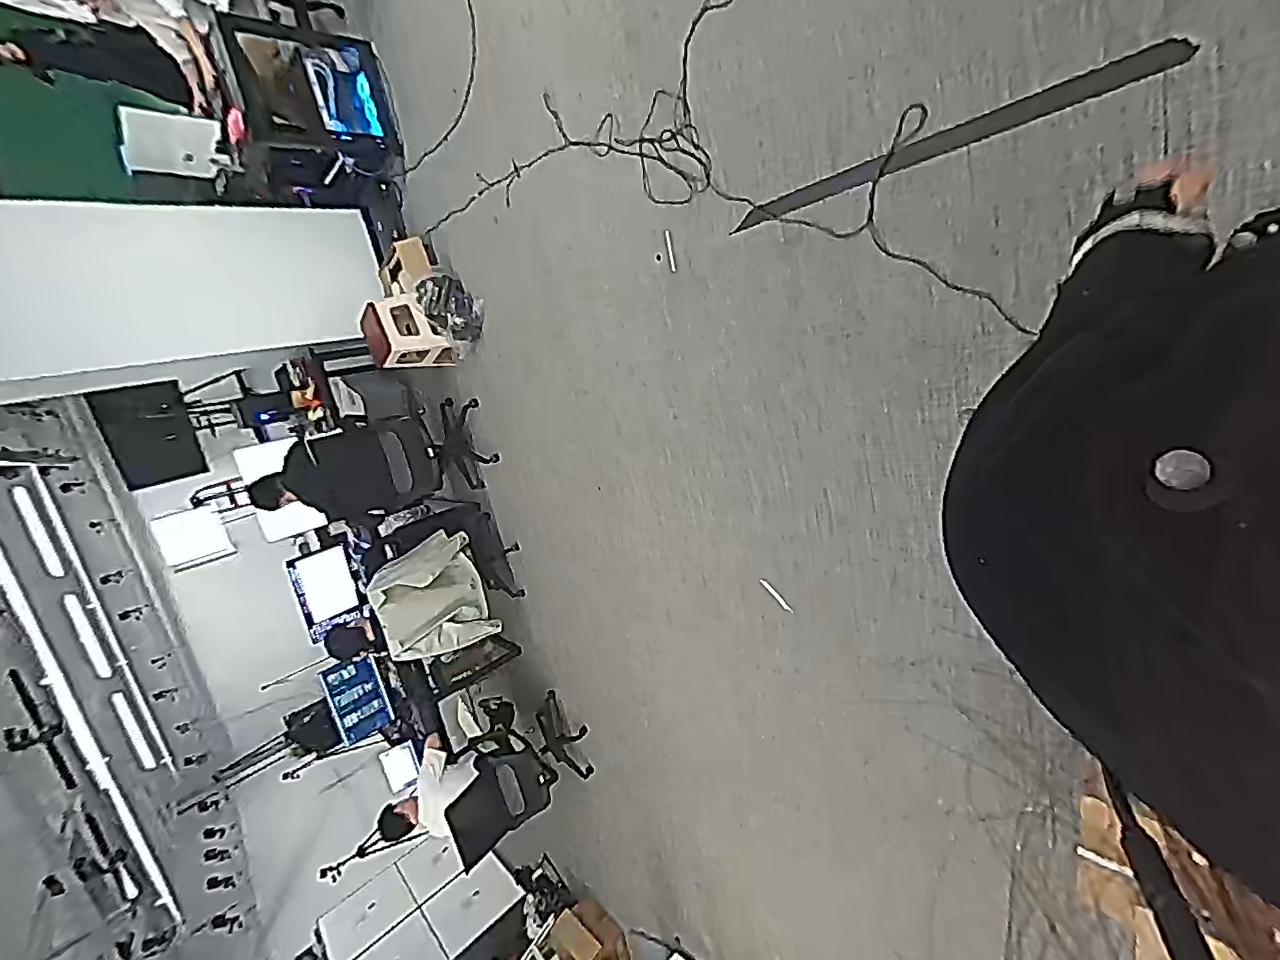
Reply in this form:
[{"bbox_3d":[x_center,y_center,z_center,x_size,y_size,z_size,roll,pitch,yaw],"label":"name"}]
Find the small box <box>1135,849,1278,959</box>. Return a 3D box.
[{"bbox_3d":[1.054,0.844,1.008,0.179,0.176,0.168,1,106,50],"label":"small box"}]
